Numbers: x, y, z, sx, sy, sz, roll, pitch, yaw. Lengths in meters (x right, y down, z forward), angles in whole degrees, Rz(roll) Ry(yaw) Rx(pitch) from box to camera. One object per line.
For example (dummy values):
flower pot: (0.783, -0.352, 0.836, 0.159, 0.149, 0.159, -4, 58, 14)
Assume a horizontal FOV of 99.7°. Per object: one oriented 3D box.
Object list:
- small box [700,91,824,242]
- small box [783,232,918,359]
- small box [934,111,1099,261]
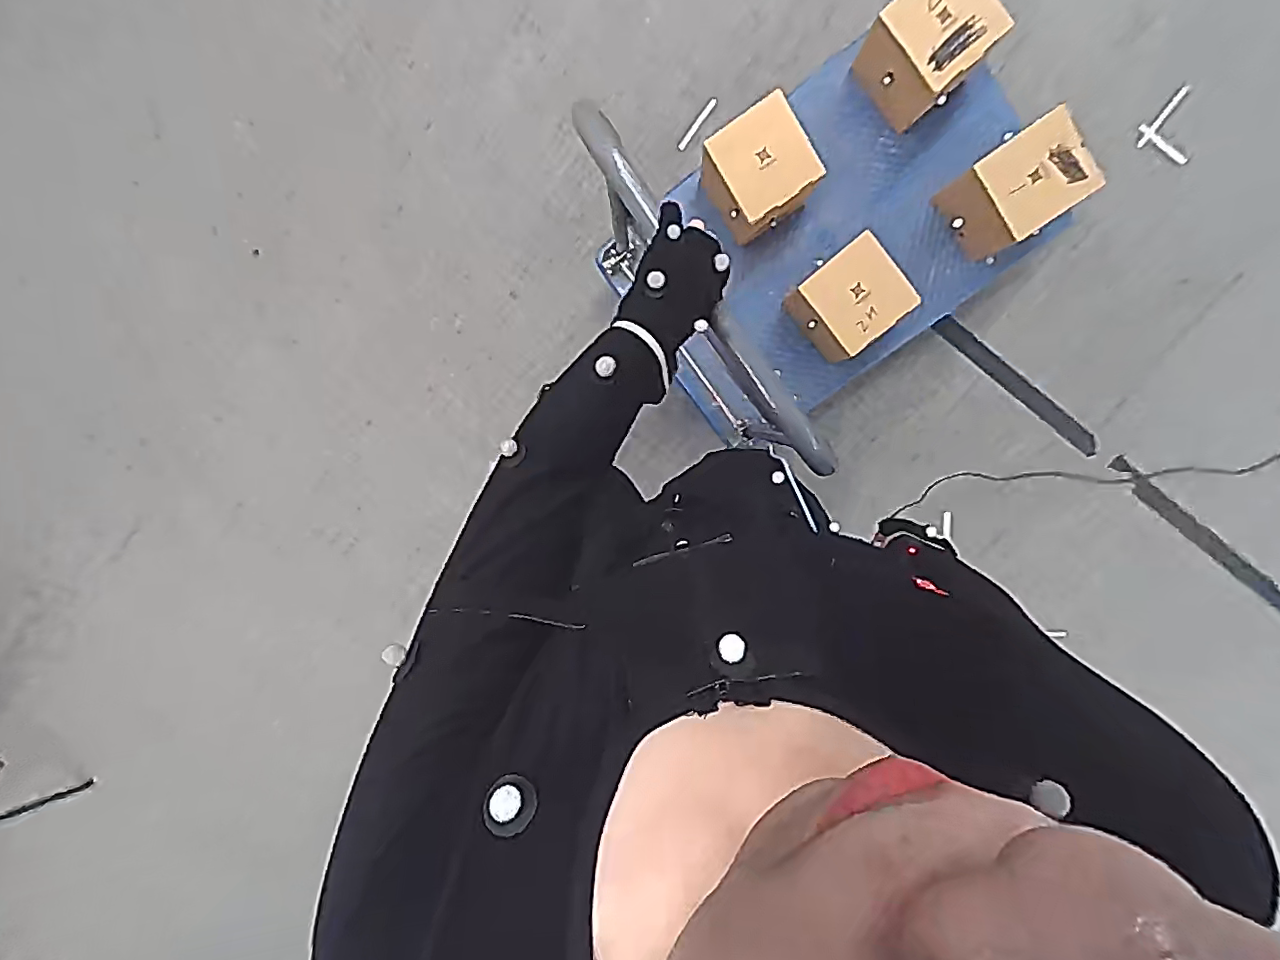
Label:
small box: (0.233, -0.613, 1.084, 0.168, 0.176, 0.179, -32, 98, 8)
small box: (0.419, -0.366, 1.114, 0.168, 0.176, 0.179, -39, 96, 8)
small box: (0.725, -0.563, 1.062, 0.179, 0.176, 0.168, -33, 96, 9)
